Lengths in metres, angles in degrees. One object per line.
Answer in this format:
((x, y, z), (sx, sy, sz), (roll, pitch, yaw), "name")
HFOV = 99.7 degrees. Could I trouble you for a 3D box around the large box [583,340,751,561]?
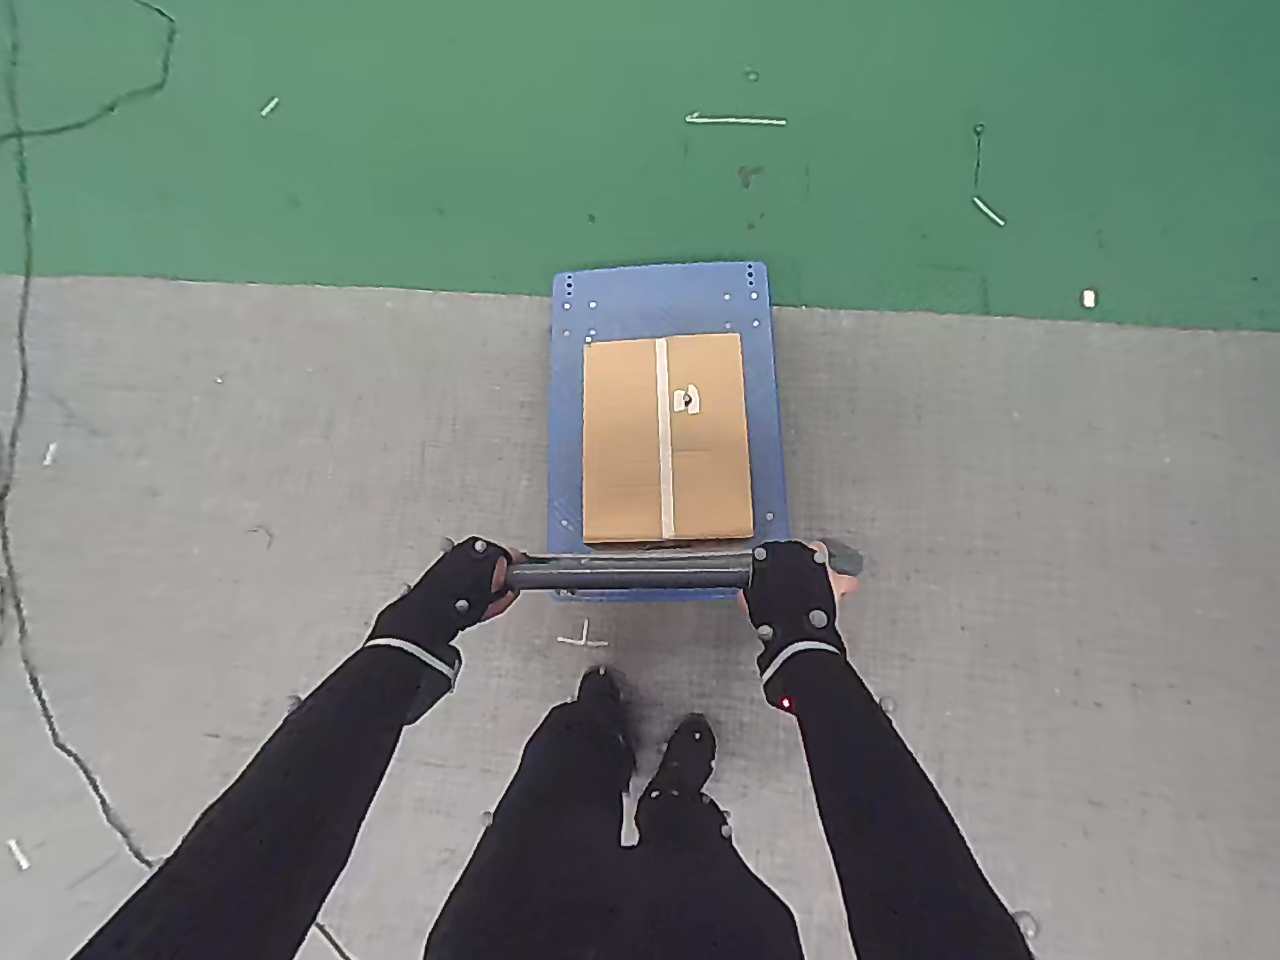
((0.058, -0.043, 1.187), (0.320, 0.320, 0.408), (-2, 76, 4), "large box")
